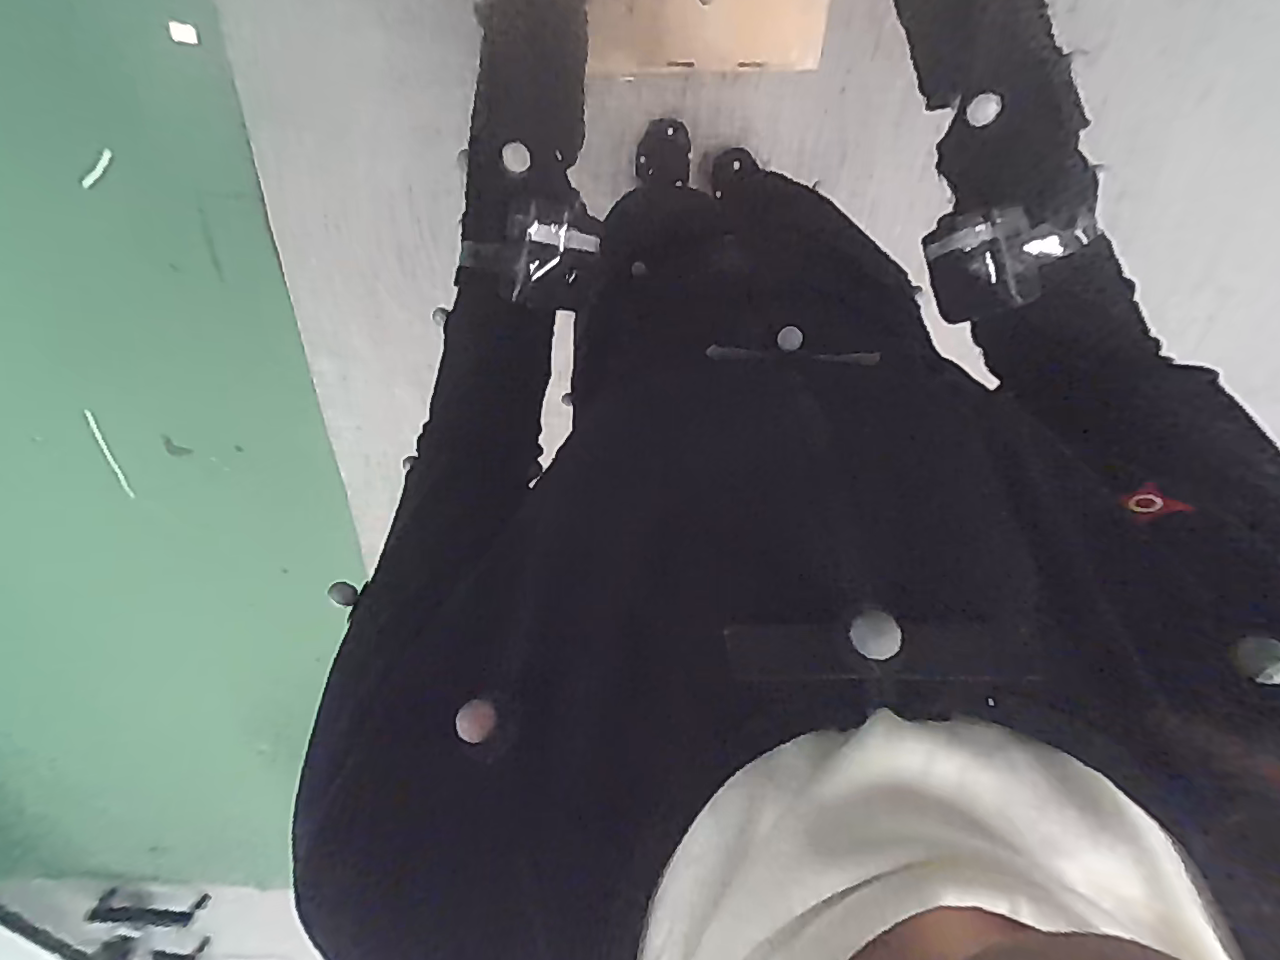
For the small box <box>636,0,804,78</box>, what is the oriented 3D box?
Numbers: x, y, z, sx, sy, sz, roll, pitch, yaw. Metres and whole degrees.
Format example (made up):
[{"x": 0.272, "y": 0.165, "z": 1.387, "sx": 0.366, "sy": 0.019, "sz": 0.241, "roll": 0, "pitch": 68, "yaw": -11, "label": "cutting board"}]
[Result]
[{"x": 0.082, "y": -0.539, "z": 0.570, "sx": 0.168, "sy": 0.176, "sz": 0.179, "roll": 1, "pitch": 128, "yaw": 0, "label": "small box"}]
